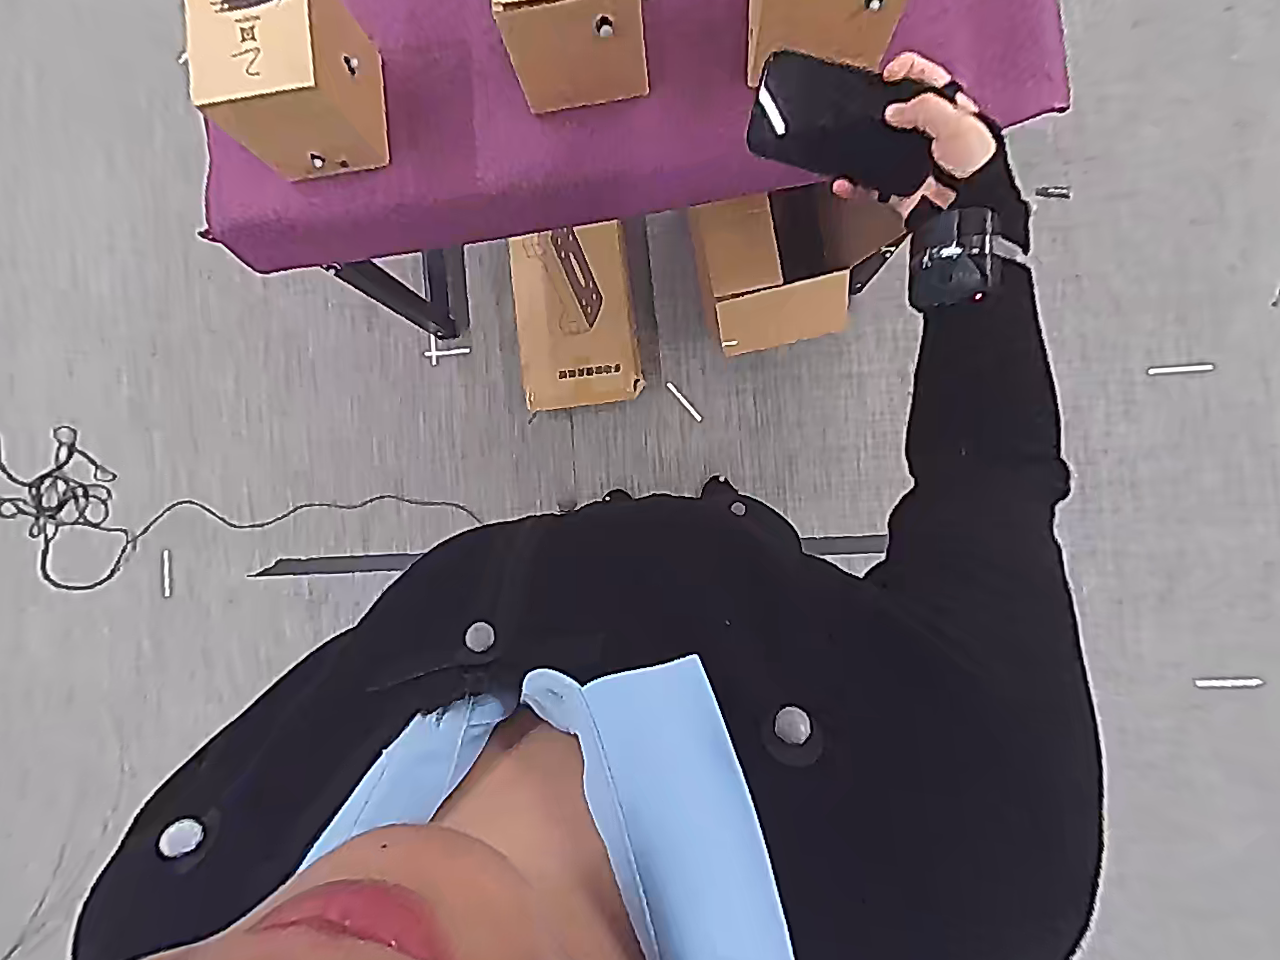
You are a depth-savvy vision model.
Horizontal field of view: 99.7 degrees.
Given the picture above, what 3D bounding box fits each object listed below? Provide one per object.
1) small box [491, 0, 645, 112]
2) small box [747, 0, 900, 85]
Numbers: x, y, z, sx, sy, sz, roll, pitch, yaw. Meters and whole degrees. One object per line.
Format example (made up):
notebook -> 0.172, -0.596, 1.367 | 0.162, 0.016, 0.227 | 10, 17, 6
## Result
small box -> -0.087, -0.627, 0.708 | 0.179, 0.176, 0.168 | -6, 86, 5
small box -> 0.230, -0.637, 0.681 | 0.179, 0.176, 0.168 | 1, 89, 5
